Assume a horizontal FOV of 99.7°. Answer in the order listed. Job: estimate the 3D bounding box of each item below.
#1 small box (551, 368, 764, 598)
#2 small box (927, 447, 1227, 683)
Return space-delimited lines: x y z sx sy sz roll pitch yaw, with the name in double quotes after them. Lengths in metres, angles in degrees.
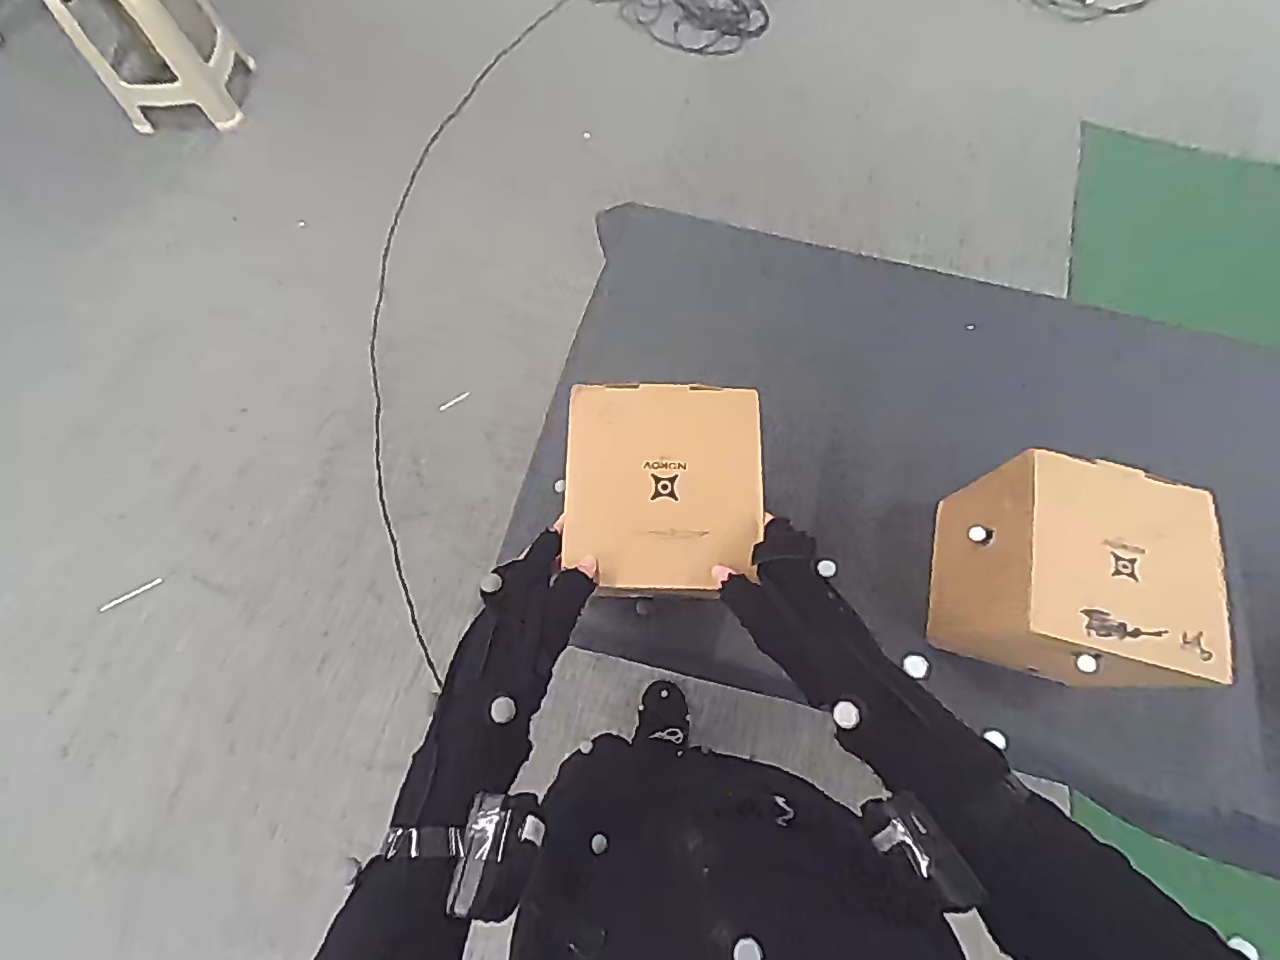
0.017 0.014 0.511 0.168 0.176 0.179 3 75 1 "small box"
0.417 0.095 0.549 0.168 0.176 0.179 15 69 4 "small box"
